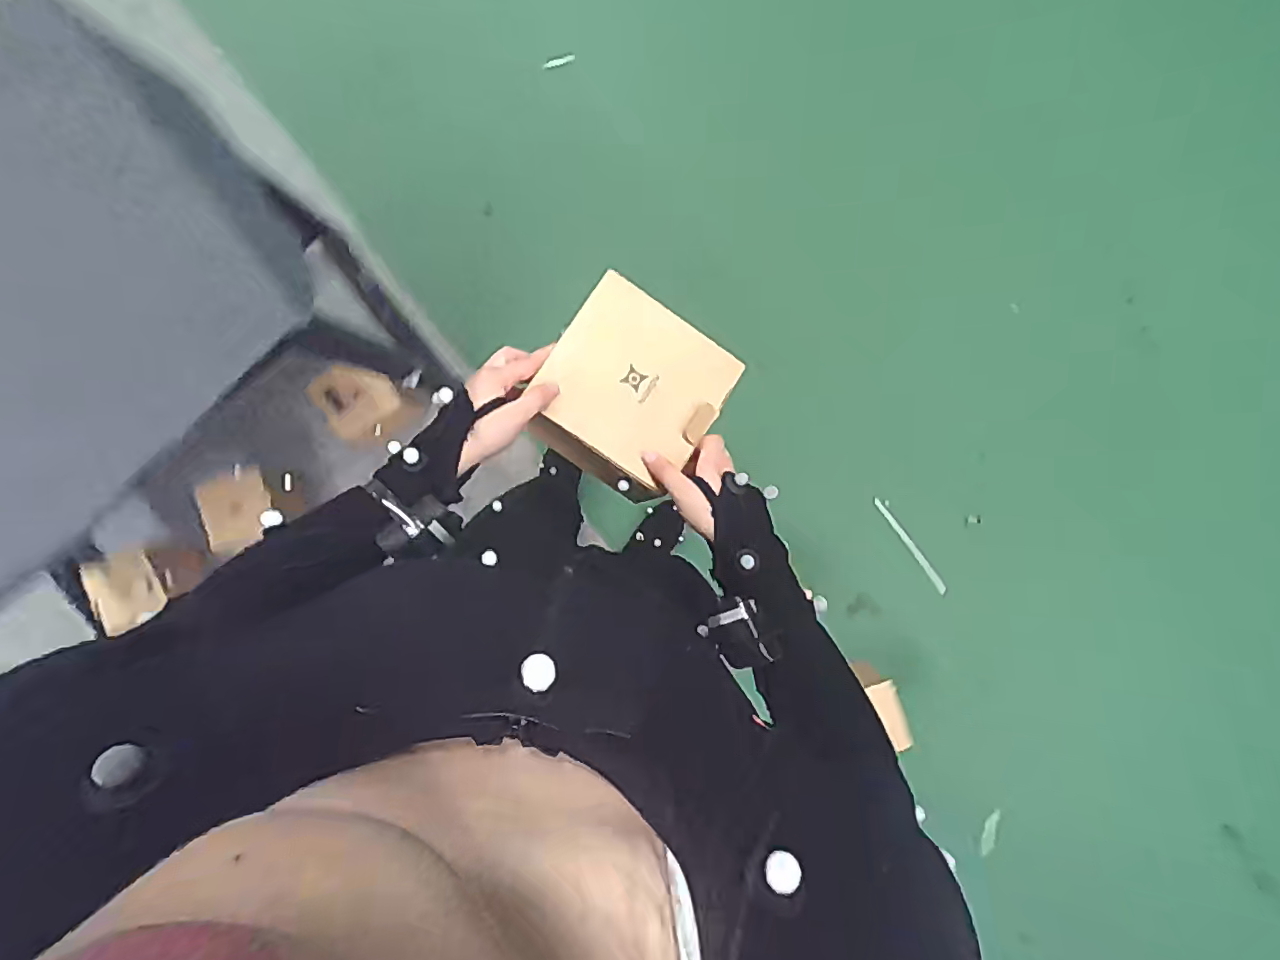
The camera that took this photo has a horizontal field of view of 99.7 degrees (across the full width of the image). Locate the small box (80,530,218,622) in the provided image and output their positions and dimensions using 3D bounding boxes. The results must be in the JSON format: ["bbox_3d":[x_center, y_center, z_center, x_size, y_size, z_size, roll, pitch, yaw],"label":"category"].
[{"bbox_3d":[-1.276,0.245,1.417,0.179,0.176,0.168,-25,92,3],"label":"small box"}]

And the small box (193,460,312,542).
[{"bbox_3d":[-0.992,0.047,1.406,0.179,0.176,0.168,-17,91,3],"label":"small box"}]

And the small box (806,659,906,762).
[{"bbox_3d":[0.550,0.584,1.399,0.168,0.176,0.179,-18,92,2],"label":"small box"}]

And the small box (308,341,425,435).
[{"bbox_3d":[-0.691,-0.228,1.389,0.179,0.176,0.168,-32,92,1],"label":"small box"}]
